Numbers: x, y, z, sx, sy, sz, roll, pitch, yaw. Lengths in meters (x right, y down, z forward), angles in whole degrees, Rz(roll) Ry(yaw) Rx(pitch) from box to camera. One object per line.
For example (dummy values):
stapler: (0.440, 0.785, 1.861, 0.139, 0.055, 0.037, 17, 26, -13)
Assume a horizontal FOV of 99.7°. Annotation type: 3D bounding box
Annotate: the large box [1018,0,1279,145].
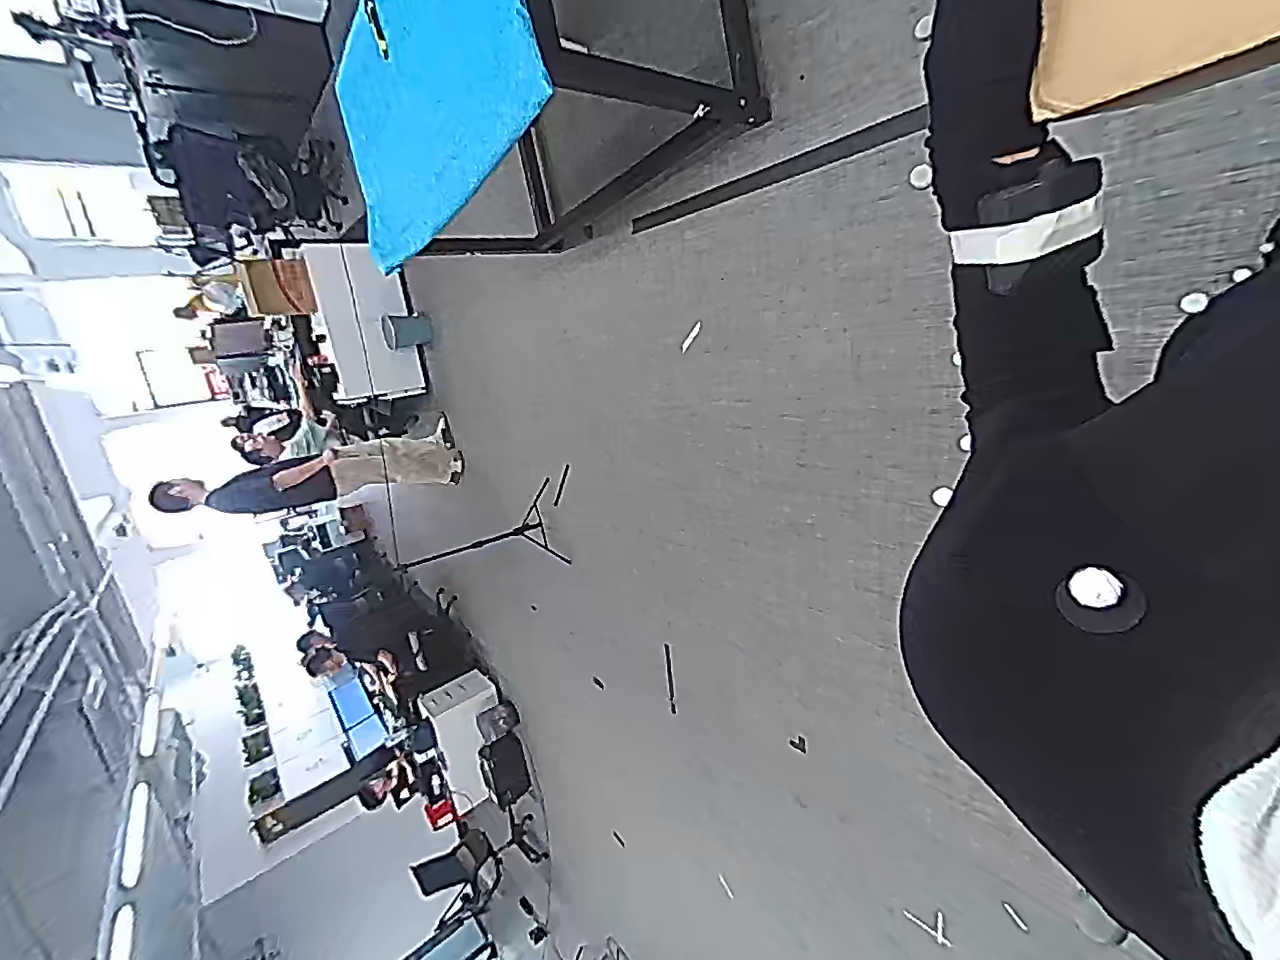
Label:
large box: (0.415, -0.387, 0.197, 0.408, 0.320, 0.320, 6, 119, 51)
